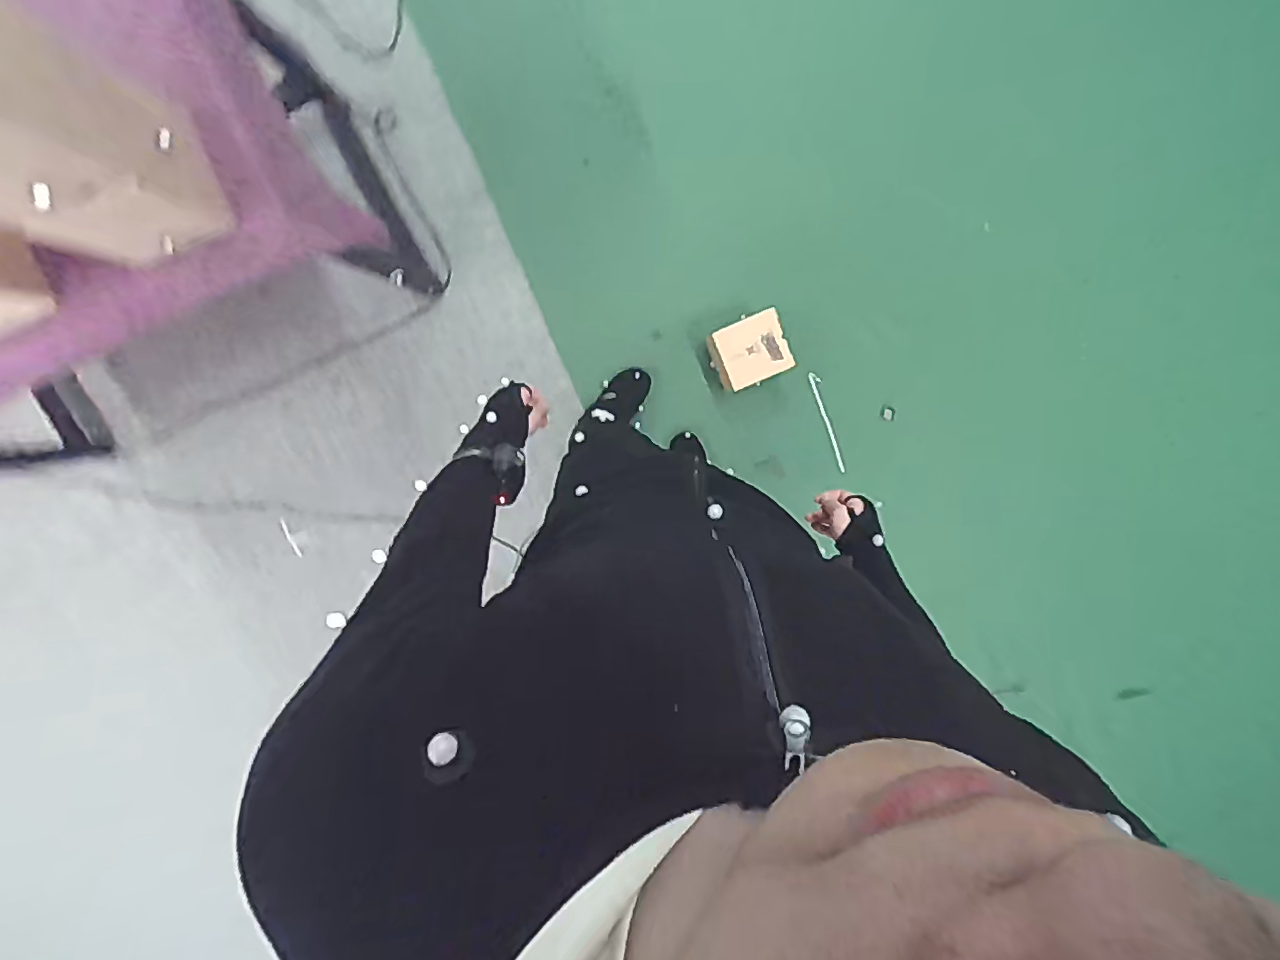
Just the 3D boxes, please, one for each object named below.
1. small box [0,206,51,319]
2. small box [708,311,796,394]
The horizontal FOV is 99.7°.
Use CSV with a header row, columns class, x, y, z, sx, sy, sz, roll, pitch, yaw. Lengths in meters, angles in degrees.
class,x,y,z,sx,sy,sz,roll,pitch,yaw
small box,-1.013,-0.322,0.759,0.168,0.176,0.179,-20,97,4
small box,0.300,-0.347,1.487,0.179,0.176,0.168,-22,98,5
